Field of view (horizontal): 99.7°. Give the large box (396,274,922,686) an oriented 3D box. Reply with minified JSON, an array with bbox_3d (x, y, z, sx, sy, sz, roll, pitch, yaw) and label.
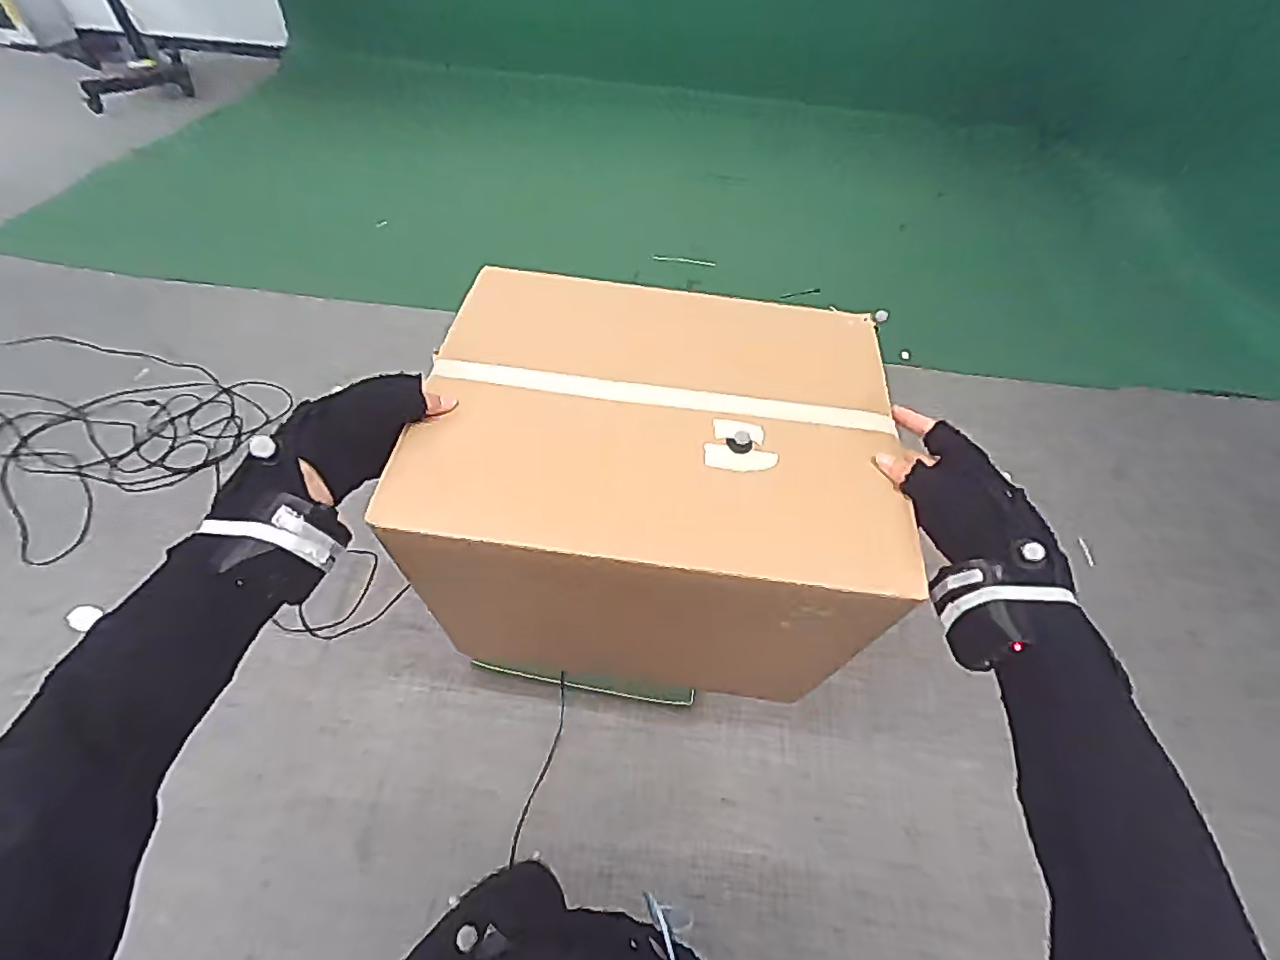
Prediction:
[{"bbox_3d":[0.016,0.015,0.605,0.408,0.320,0.320,8,56,0],"label":"large box"}]
